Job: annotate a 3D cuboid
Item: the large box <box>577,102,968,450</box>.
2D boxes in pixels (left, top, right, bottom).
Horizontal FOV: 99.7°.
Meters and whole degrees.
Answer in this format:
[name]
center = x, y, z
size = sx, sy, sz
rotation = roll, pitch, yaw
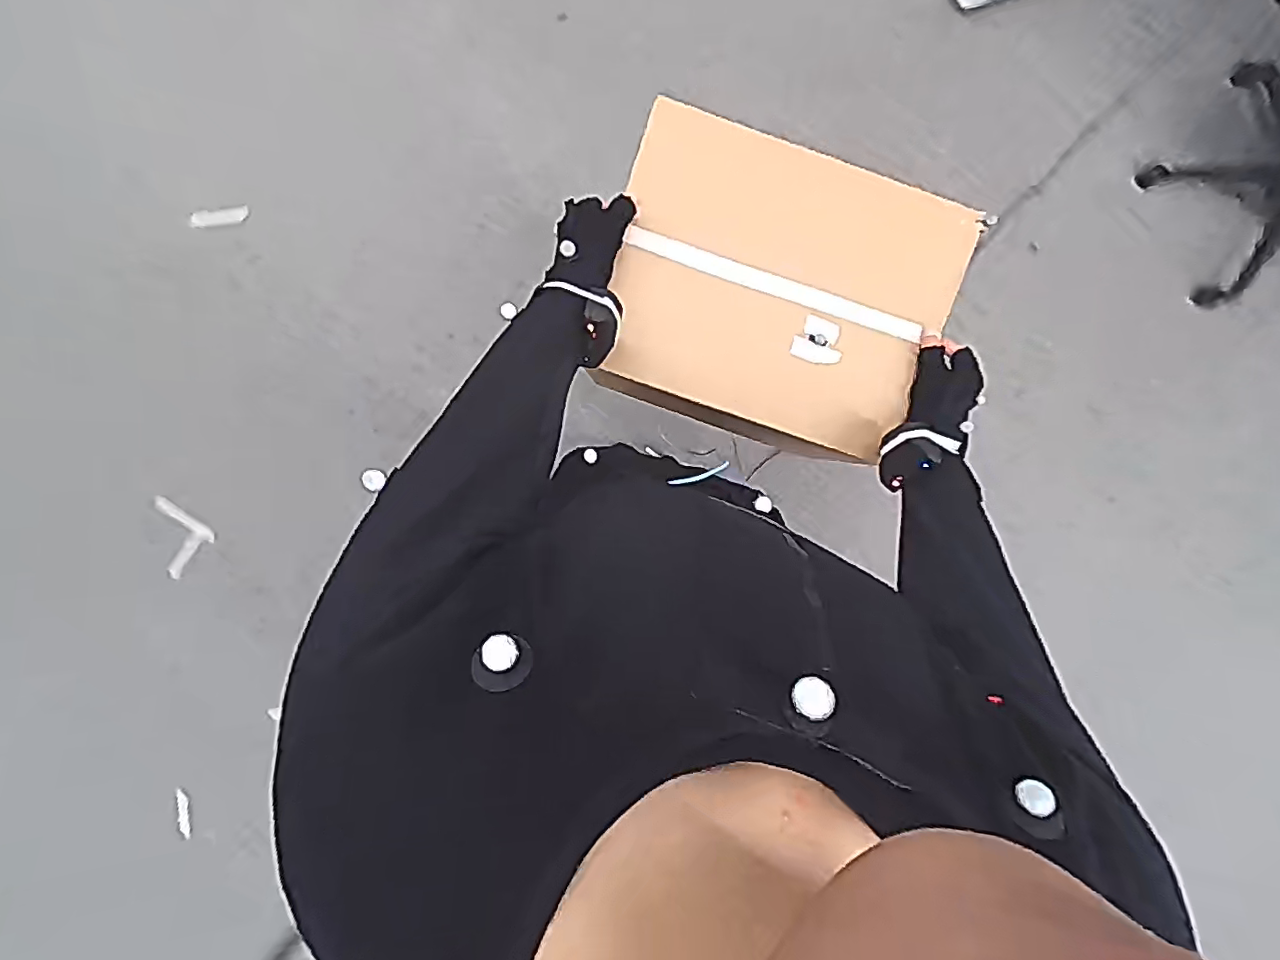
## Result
[large box]
center = 0.152, -0.249, 0.790
size = 0.408, 0.320, 0.320
rotation = 18, 95, -2
